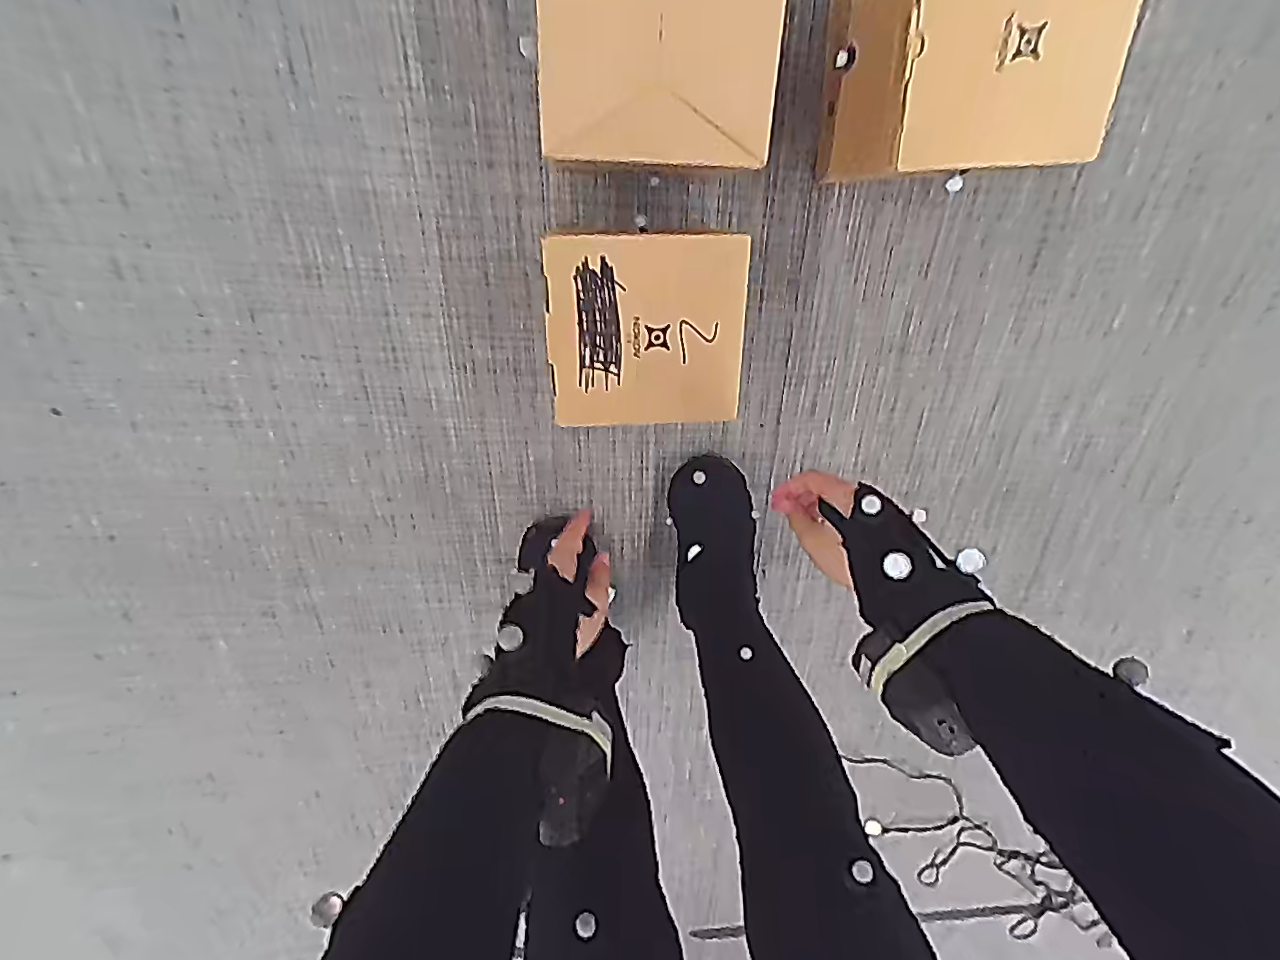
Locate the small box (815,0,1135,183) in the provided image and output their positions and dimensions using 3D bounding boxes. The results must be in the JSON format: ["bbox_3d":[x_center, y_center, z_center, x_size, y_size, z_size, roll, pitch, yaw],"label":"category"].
[{"bbox_3d":[0.280,-0.364,0.484,0.179,0.176,0.168,-5,117,-3],"label":"small box"}]

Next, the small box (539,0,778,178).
[{"bbox_3d":[0.010,-0.353,0.457,0.179,0.176,0.168,-1,116,-6],"label":"small box"}]
